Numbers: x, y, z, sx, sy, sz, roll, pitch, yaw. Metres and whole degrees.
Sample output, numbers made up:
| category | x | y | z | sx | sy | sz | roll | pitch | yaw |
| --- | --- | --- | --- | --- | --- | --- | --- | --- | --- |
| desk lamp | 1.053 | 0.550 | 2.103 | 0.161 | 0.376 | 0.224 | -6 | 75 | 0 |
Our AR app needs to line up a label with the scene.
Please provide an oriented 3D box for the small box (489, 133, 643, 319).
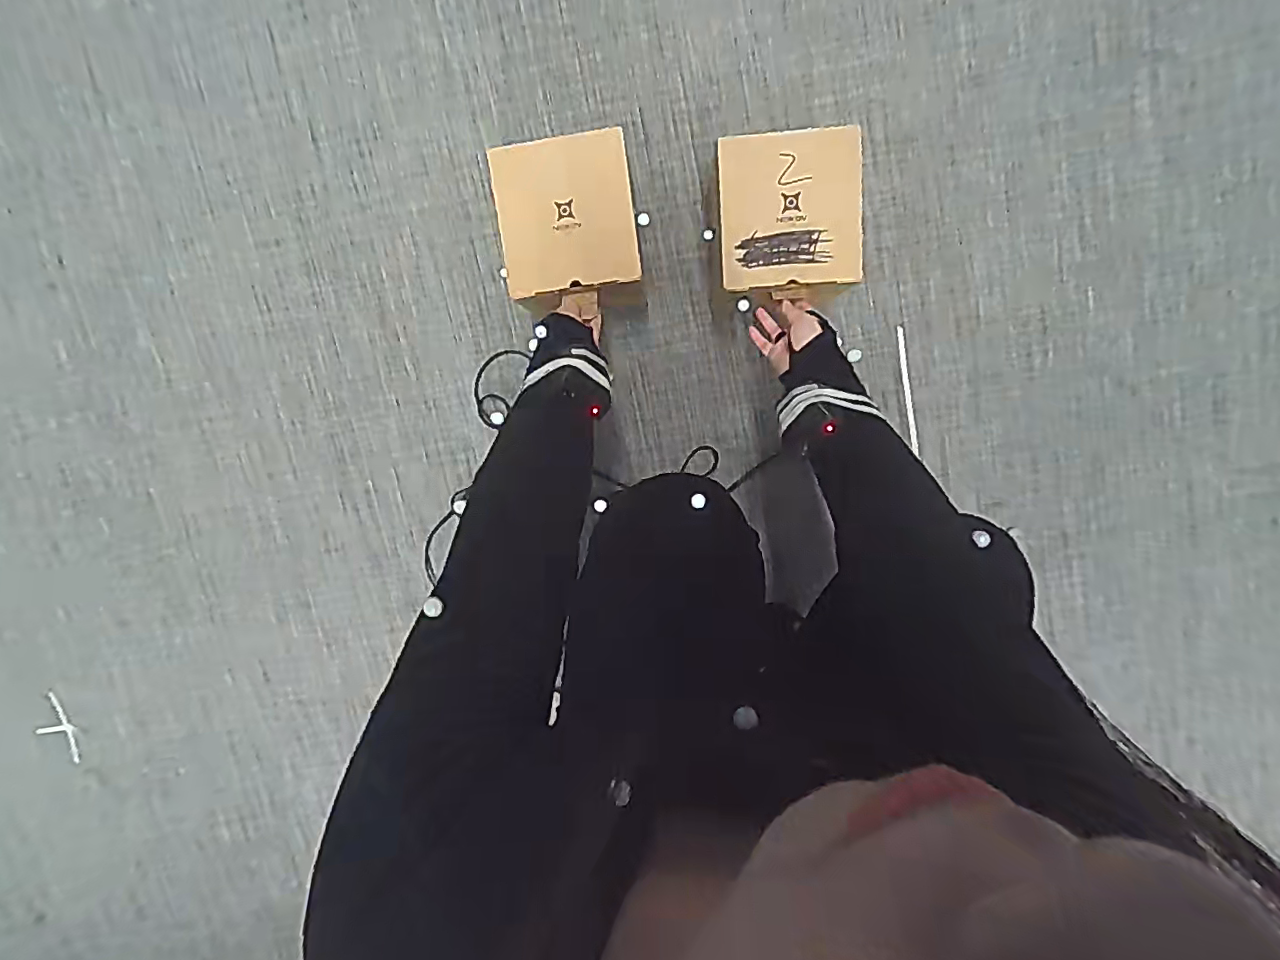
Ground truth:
| category | x | y | z | sx | sy | sz | roll | pitch | yaw |
| --- | --- | --- | --- | --- | --- | --- | --- | --- | --- |
| small box | -0.089 | -0.329 | 0.733 | 0.168 | 0.176 | 0.179 | -7 | 99 | 4 |
